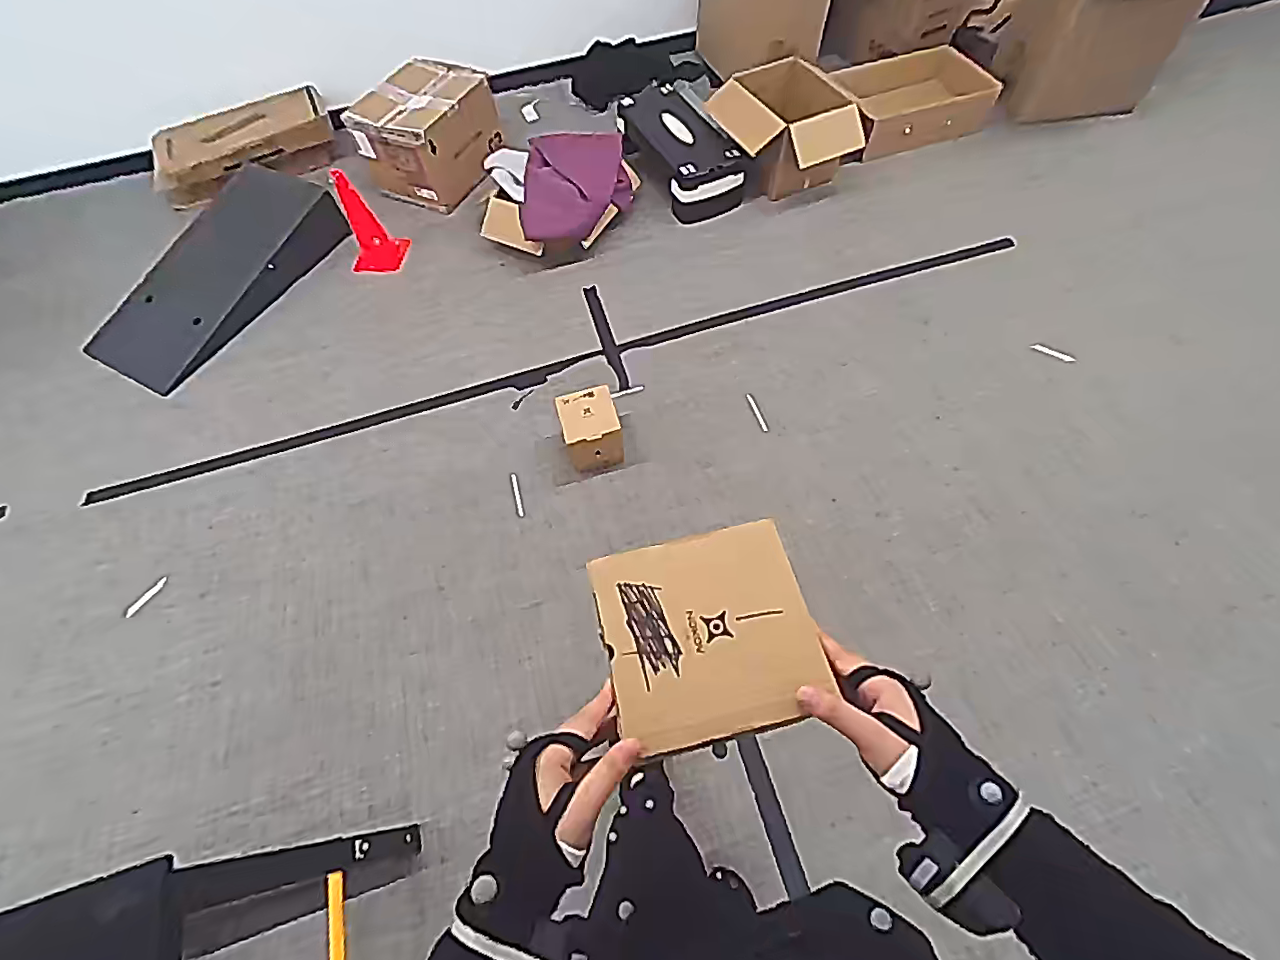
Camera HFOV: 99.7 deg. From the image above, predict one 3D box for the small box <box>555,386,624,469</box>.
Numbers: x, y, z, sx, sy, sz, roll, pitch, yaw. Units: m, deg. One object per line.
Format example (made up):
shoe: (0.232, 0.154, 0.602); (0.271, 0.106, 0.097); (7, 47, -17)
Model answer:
small box: (-0.149, -0.151, 1.638); (0.168, 0.176, 0.179); (-15, 62, -4)

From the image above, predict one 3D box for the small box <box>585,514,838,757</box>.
small box: (0.057, 0.156, 0.516); (0.179, 0.176, 0.168); (-13, 62, -4)
